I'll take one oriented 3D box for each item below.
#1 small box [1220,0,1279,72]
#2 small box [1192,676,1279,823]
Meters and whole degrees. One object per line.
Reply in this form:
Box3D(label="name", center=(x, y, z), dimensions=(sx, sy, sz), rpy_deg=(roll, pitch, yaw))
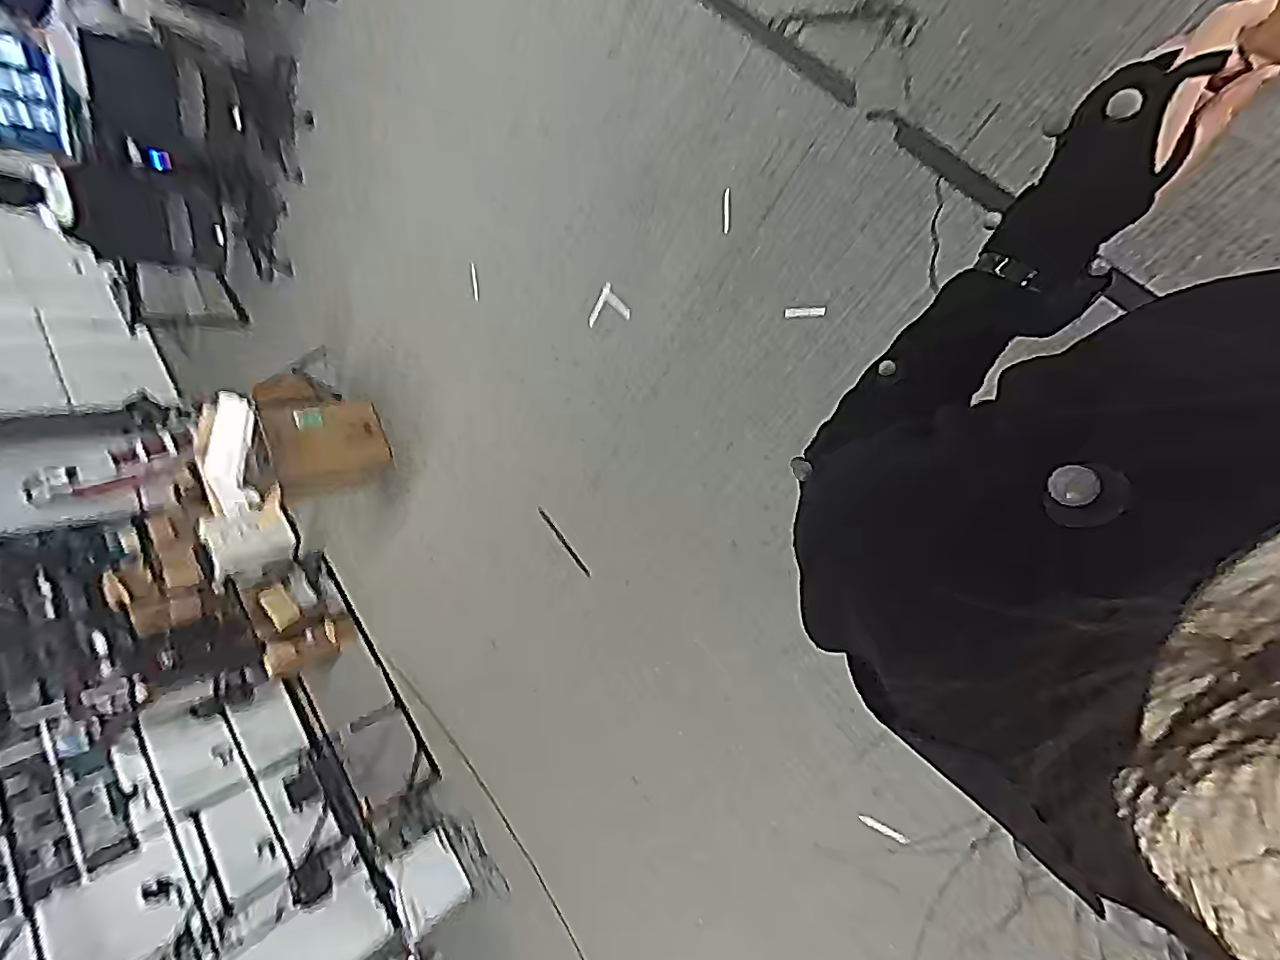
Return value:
Box3D(label="small box", center=(0.454, -0.286, 0.257), dimensions=(0.179, 0.176, 0.168), rpy_deg=(38, 146, 19))
Box3D(label="small box", center=(1.194, 0.490, 1.008), dimensions=(0.179, 0.176, 0.168), rpy_deg=(56, 130, 14))
